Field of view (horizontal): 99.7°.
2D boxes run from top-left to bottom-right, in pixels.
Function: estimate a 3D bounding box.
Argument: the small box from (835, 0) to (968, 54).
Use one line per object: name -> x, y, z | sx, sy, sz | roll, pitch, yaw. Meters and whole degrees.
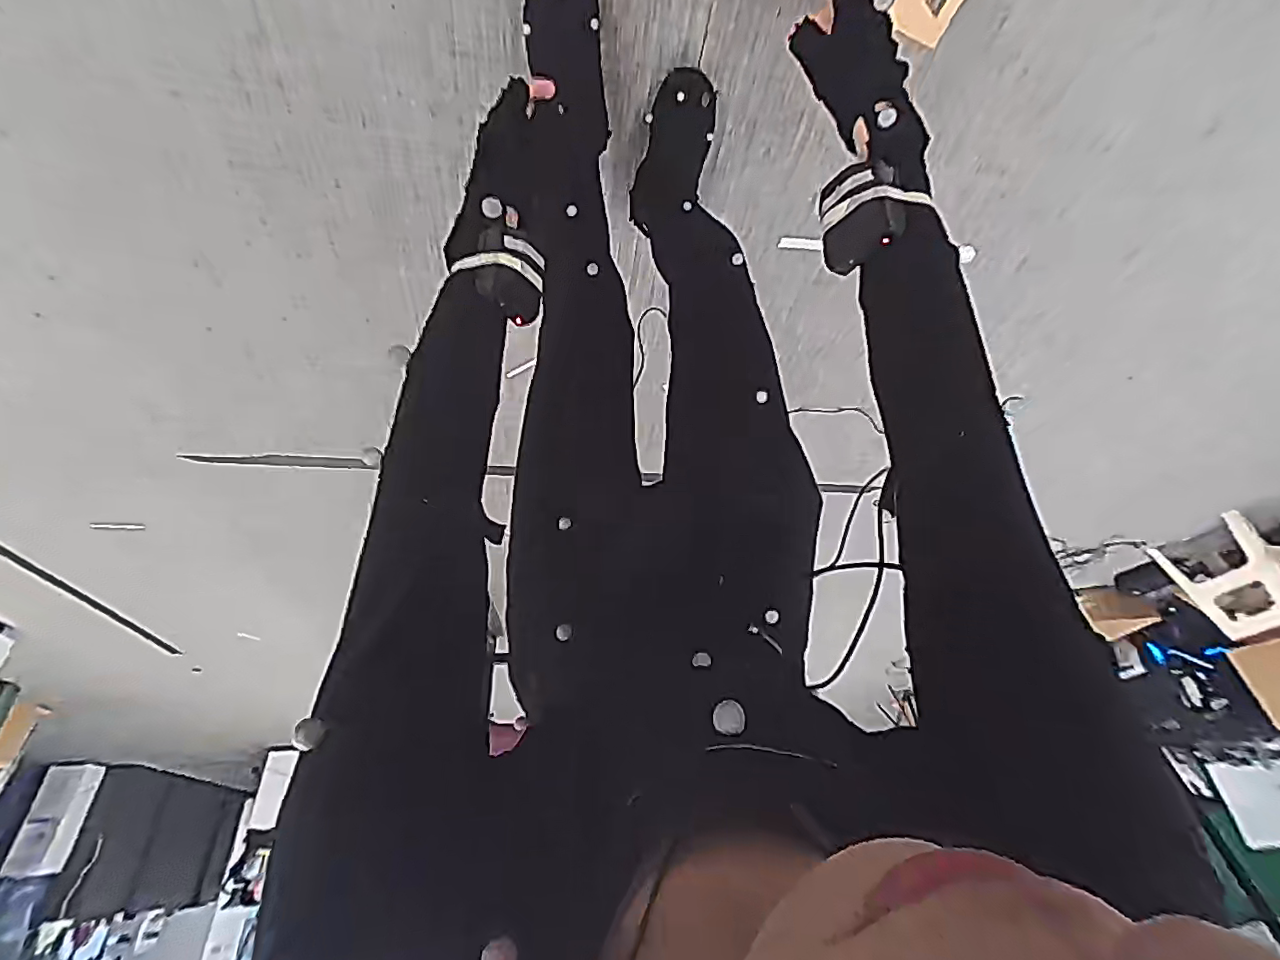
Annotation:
small box -> 0.333, -0.689, 0.674 | 0.179, 0.176, 0.168 | 11, 142, -19
